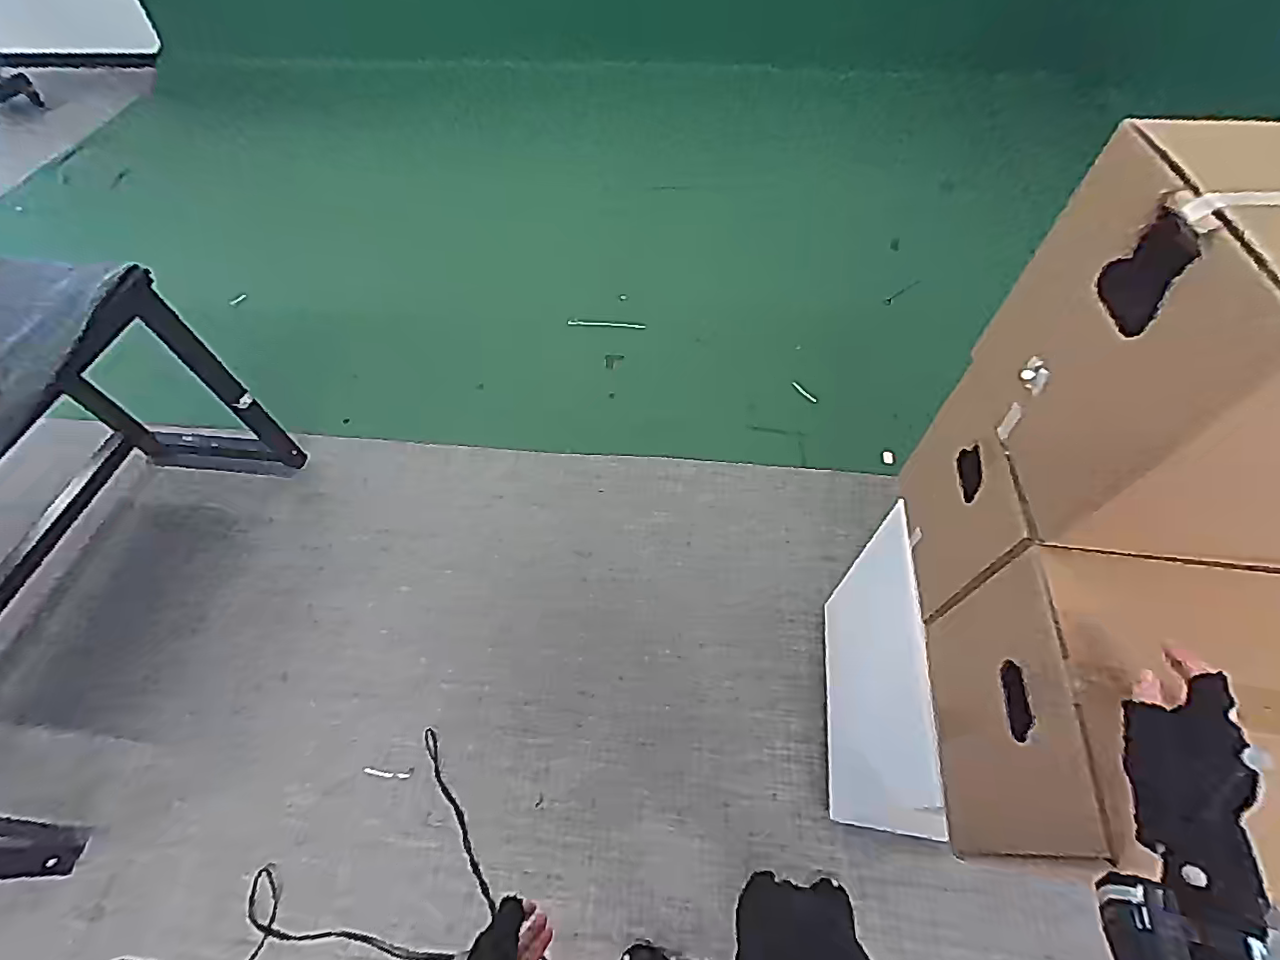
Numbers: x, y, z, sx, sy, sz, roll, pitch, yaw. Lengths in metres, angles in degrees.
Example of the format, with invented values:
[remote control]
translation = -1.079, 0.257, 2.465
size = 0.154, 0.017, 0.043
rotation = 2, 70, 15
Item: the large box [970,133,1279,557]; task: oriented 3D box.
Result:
[large box]
translation = 0.655, -0.125, 0.562
size = 0.408, 0.320, 0.320
rotation = 4, 56, 3
